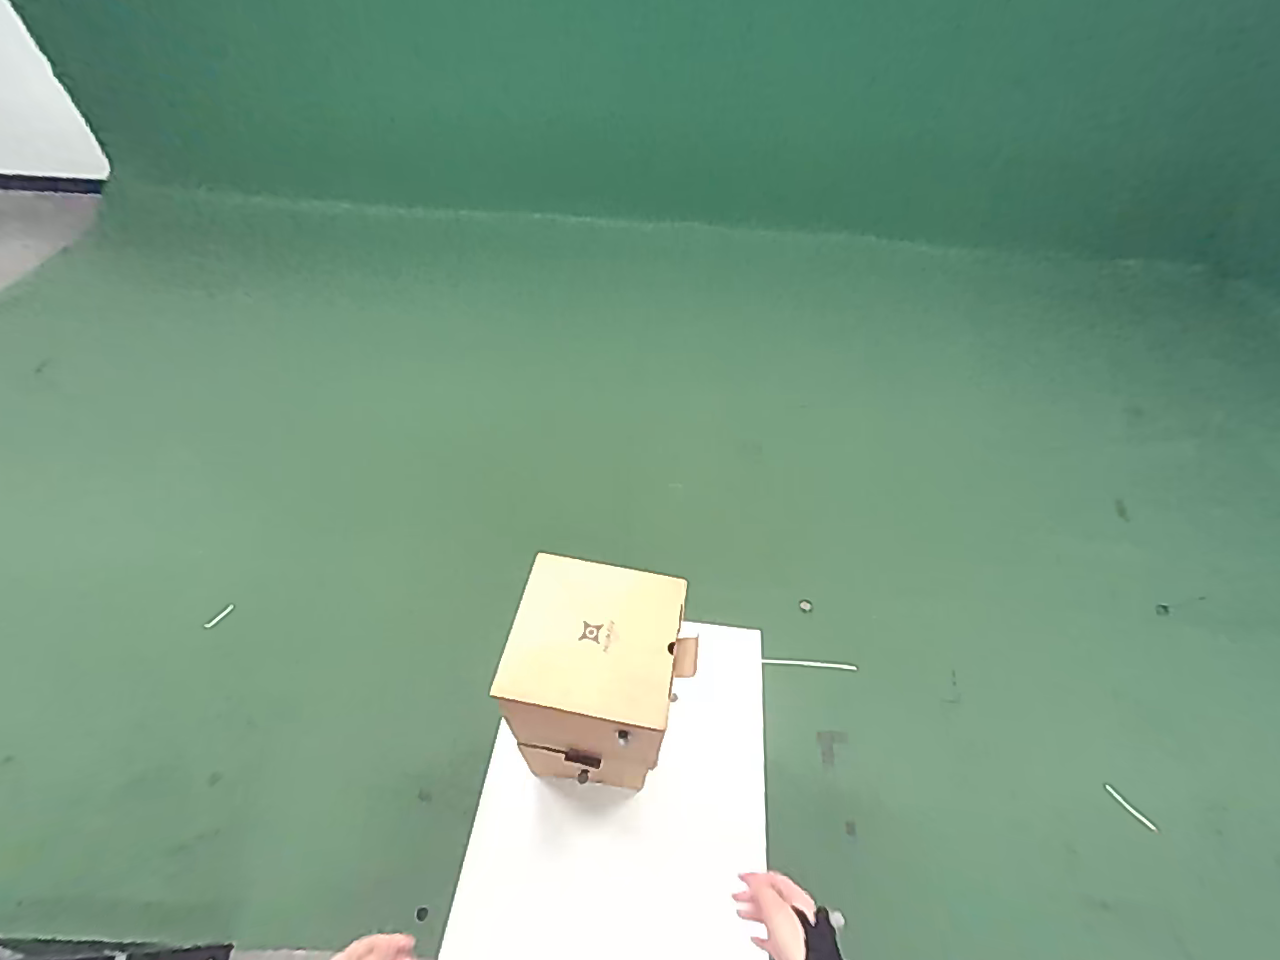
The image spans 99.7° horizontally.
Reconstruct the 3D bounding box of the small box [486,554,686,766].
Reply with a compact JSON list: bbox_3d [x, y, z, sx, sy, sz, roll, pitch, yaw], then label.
[{"bbox_3d":[-0.052,0.209,0.616,0.179,0.176,0.168,10,51,4],"label":"small box"}]

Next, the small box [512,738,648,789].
[{"bbox_3d":[-0.063,0.309,0.744,0.168,0.176,0.179,8,52,2],"label":"small box"}]
